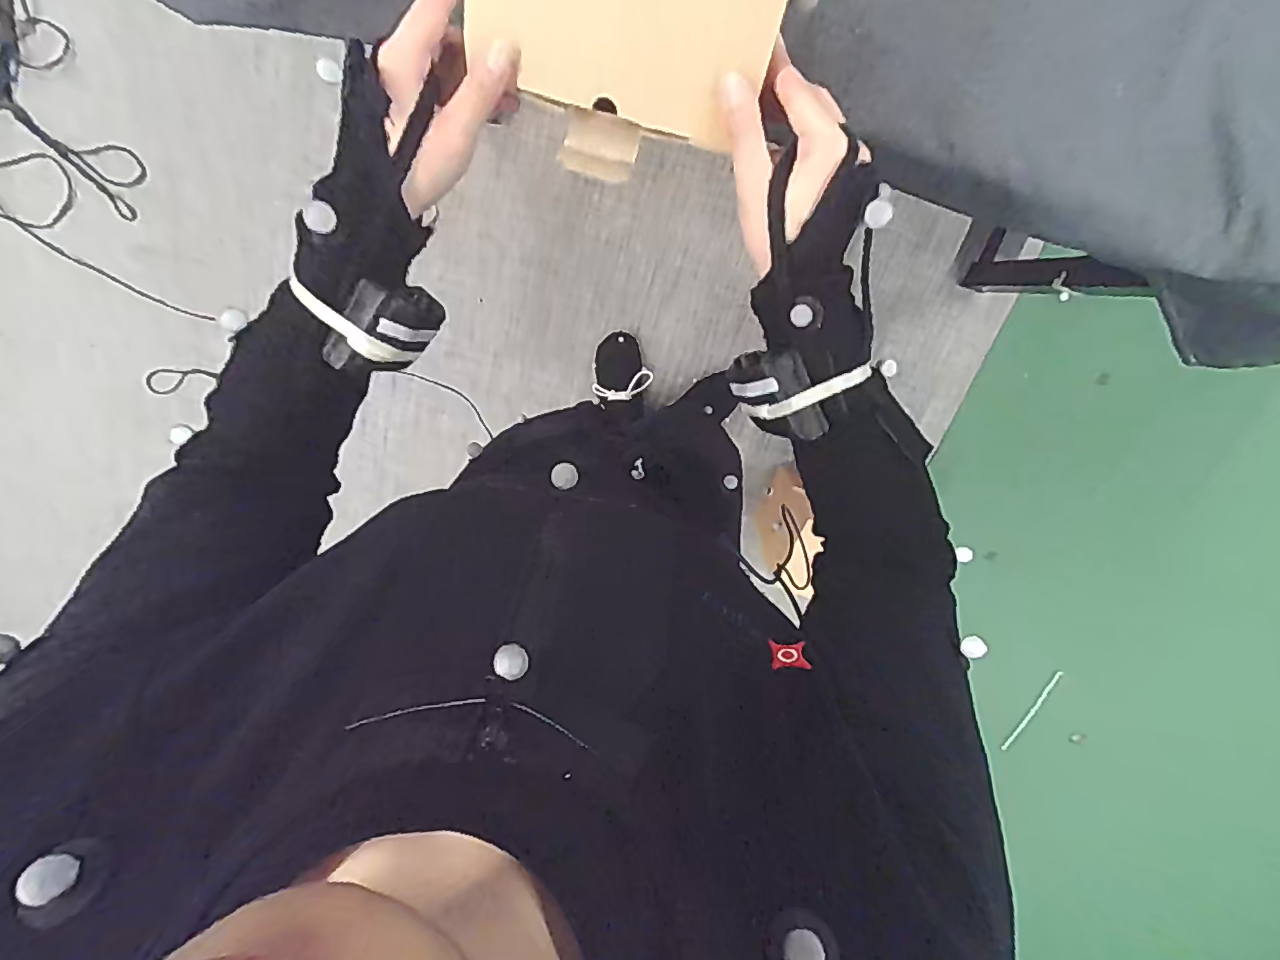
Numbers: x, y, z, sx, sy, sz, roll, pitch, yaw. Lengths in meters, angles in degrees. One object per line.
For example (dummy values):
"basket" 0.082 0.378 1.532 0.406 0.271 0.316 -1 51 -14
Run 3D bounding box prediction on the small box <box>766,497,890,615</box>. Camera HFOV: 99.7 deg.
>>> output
"small box" 0.396 0.157 1.174 0.179 0.176 0.168 21 108 -4

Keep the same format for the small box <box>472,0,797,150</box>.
"small box" 0.013 -0.322 0.320 0.168 0.176 0.179 15 127 -2

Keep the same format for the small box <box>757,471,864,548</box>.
"small box" 0.408 0.097 1.327 0.179 0.176 0.168 22 108 -4

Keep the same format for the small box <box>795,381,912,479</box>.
"small box" 0.478 -0.124 1.245 0.179 0.176 0.168 16 108 -3
